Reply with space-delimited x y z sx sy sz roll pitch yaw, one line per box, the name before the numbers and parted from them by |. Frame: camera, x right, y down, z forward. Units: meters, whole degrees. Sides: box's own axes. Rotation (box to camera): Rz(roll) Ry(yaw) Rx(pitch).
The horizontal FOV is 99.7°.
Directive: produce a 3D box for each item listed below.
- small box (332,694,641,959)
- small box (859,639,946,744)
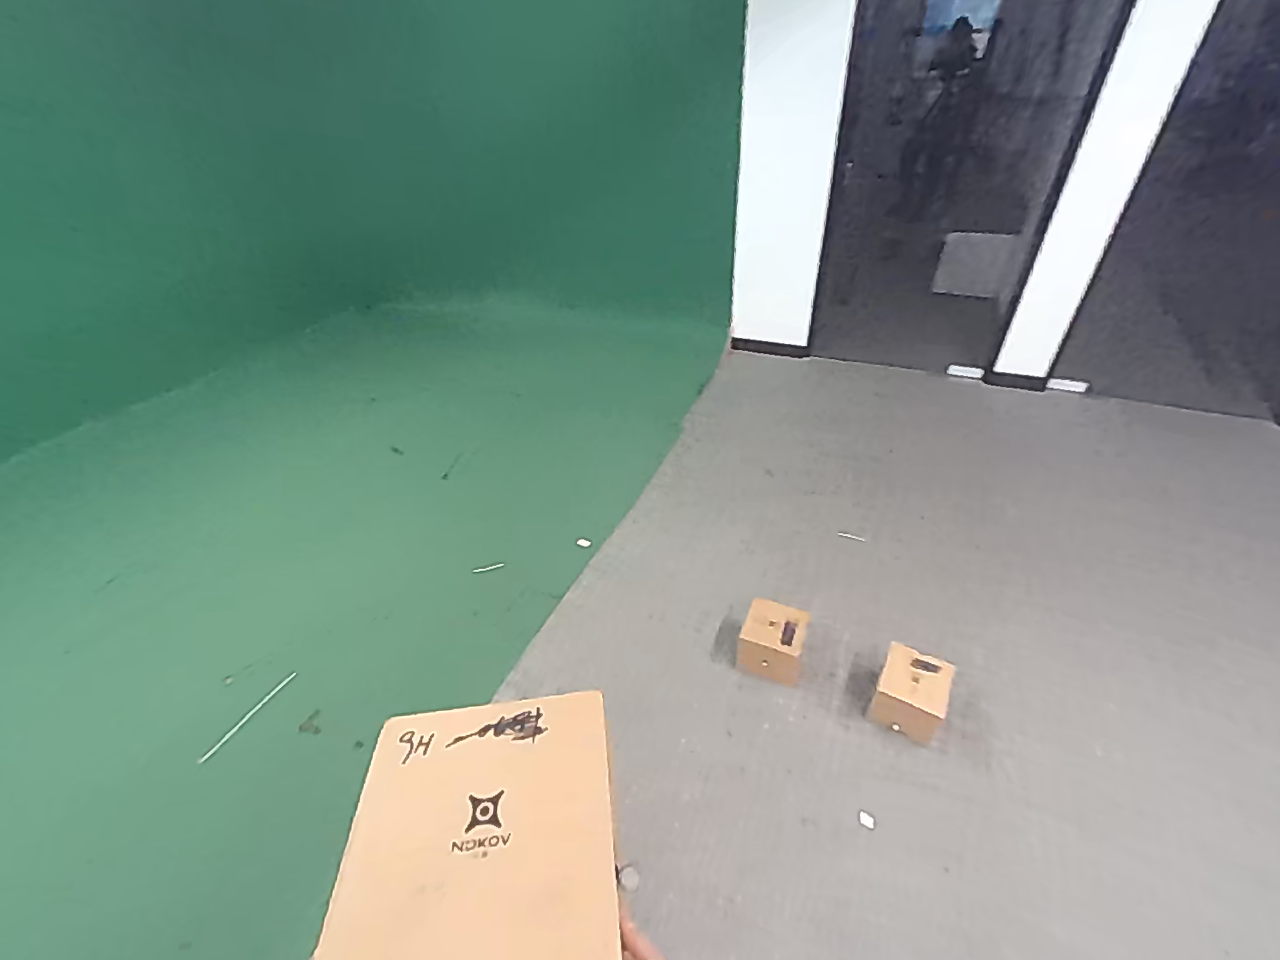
small box | -0.088 0.286 0.387 0.168 0.176 0.179 -5 36 -4
small box | 0.725 0.588 1.504 0.168 0.176 0.179 19 45 25
